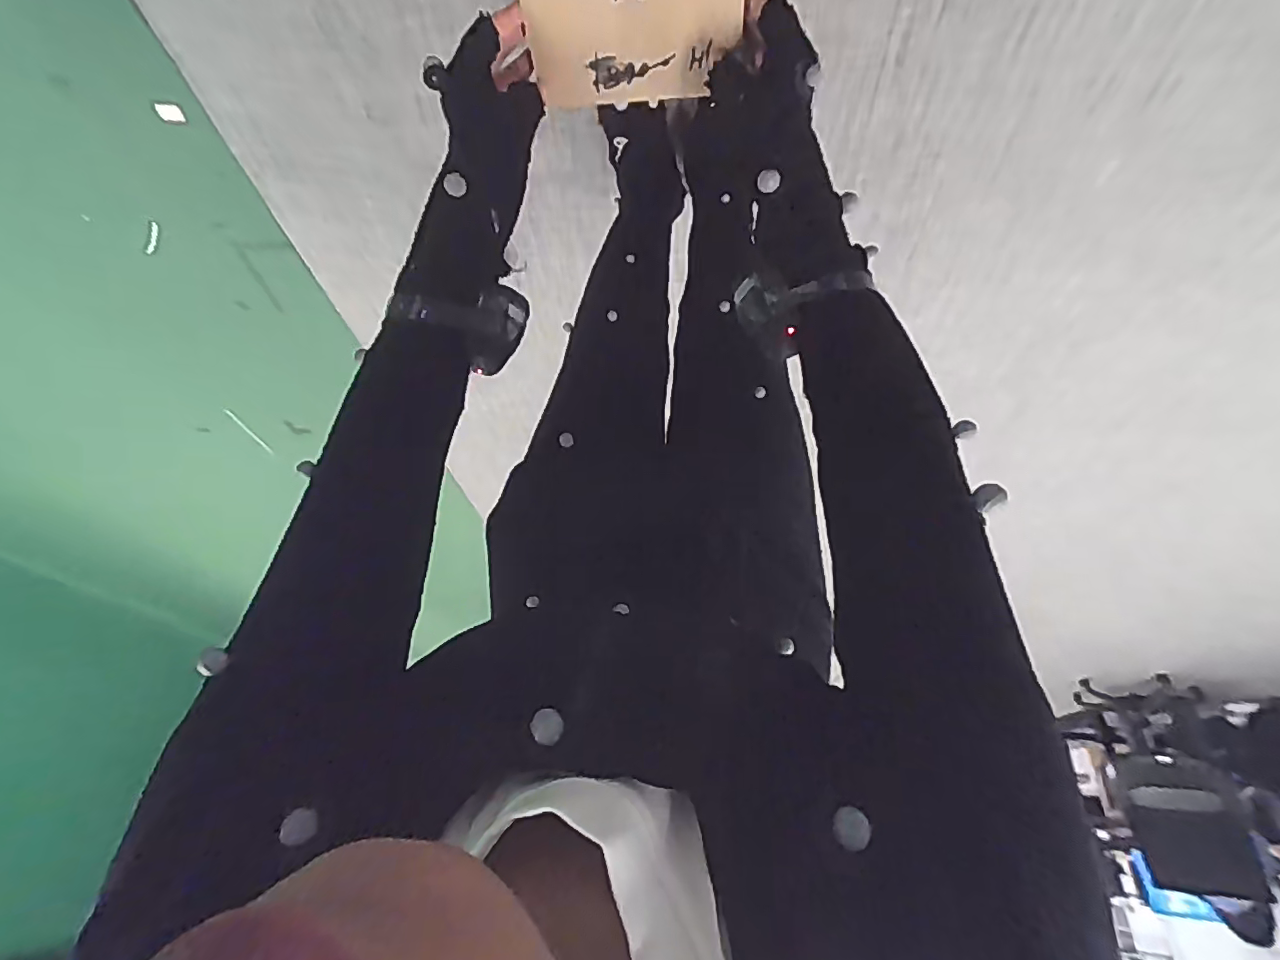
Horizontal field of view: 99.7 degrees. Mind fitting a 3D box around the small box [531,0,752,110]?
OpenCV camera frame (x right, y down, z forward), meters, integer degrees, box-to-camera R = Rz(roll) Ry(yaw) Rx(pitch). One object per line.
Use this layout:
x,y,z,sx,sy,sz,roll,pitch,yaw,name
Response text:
0.003,-0.430,0.426,0.168,0.176,0.179,0,147,6,small box
